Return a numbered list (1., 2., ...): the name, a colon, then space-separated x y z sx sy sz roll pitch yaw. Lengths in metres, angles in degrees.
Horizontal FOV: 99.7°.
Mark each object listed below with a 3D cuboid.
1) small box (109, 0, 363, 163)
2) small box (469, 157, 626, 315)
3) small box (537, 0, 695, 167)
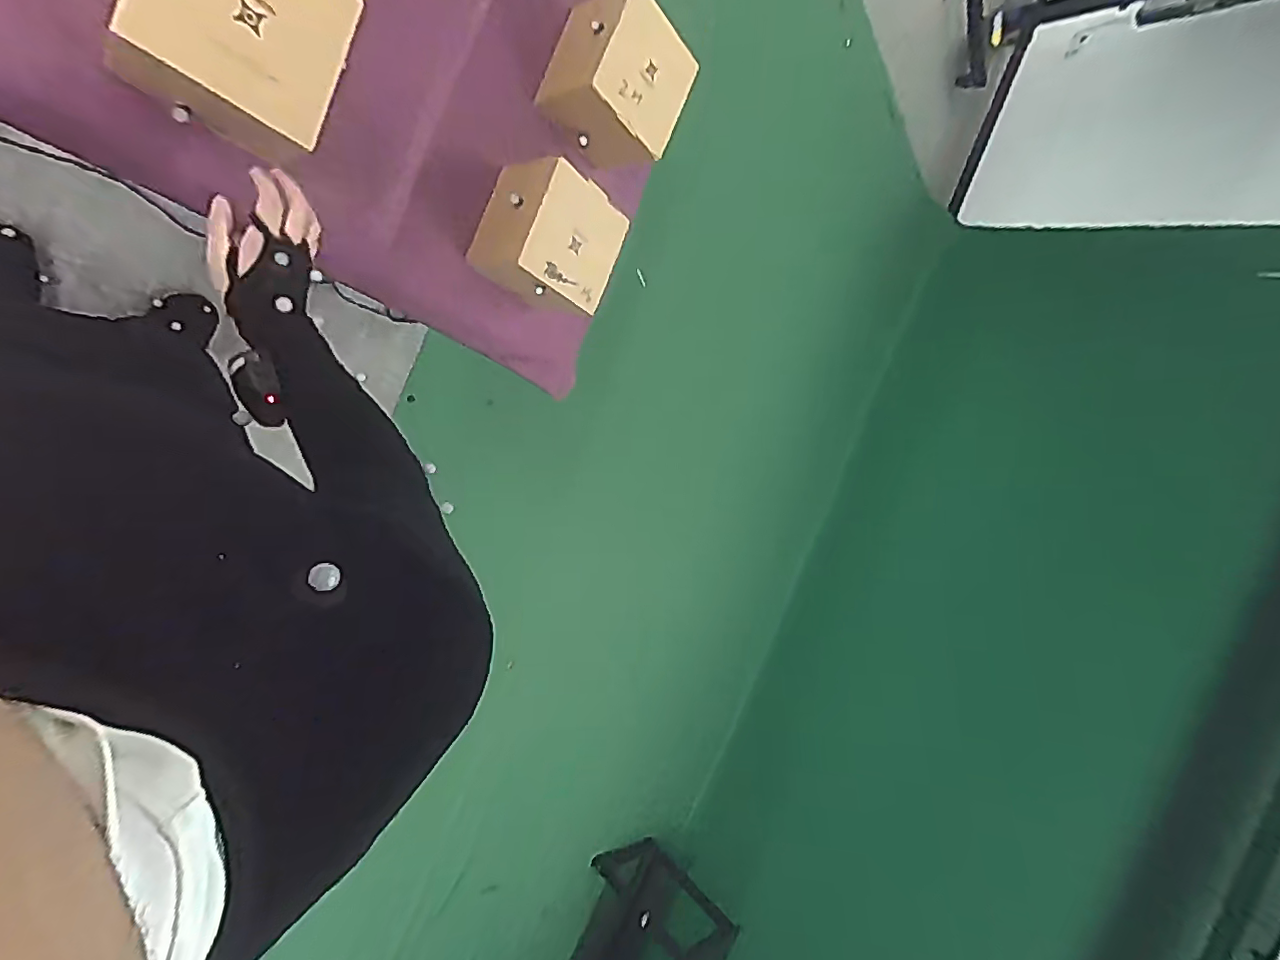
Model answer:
1. small box: -0.437 -0.478 0.582 0.168 0.176 0.179 19 93 -48
2. small box: -0.158 -0.400 0.908 0.168 0.176 0.179 22 89 -48
3. small box: -0.045 -0.661 0.906 0.168 0.176 0.179 23 92 -47
